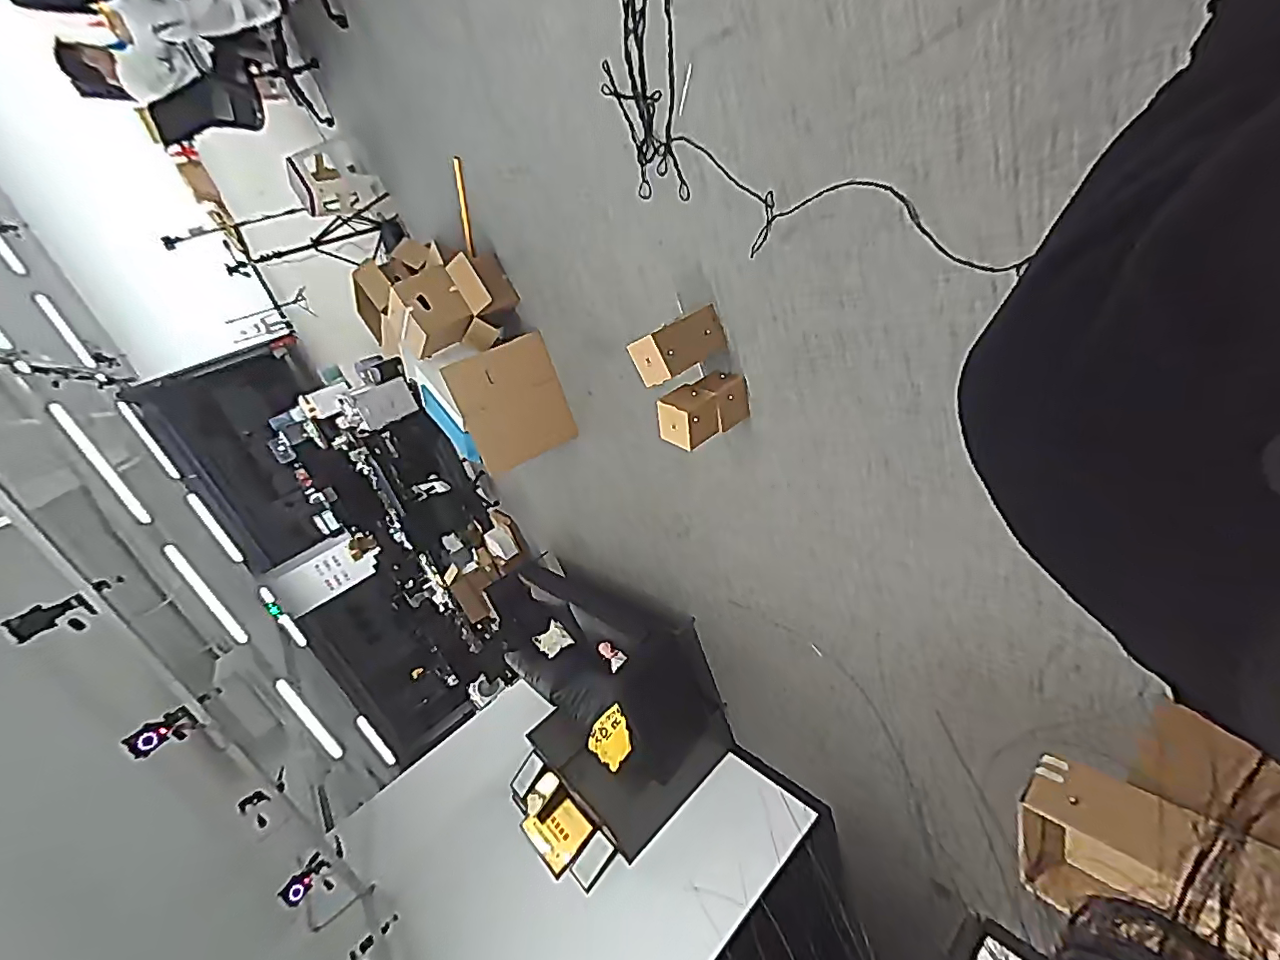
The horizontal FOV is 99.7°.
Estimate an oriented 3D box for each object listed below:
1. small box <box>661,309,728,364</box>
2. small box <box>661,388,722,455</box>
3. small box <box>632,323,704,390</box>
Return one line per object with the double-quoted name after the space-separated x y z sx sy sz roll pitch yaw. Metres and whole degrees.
0.219 -0.546 2.099 0.179 0.176 0.168 3 121 57 "small box"
0.205 -0.232 2.103 0.168 0.176 0.179 30 141 40 "small box"
0.110 -0.459 2.014 0.168 0.176 0.179 -6 114 57 "small box"
